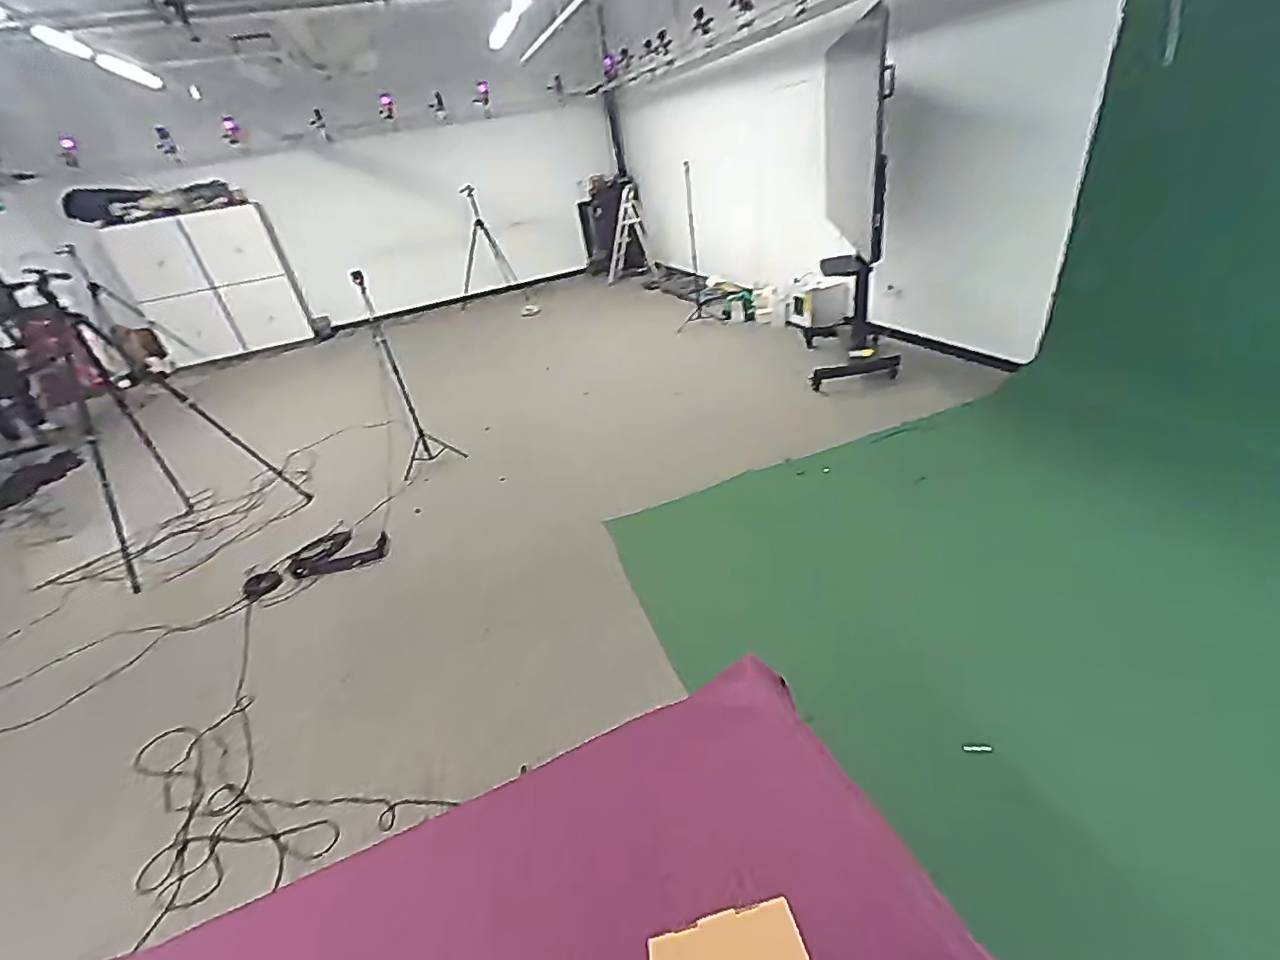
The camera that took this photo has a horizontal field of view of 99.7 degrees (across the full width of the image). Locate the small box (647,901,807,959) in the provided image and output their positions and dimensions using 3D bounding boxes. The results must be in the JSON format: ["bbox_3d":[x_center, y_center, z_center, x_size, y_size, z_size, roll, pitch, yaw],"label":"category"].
[{"bbox_3d":[0.111,0.592,0.552,0.168,0.176,0.179,-13,21,-3],"label":"small box"}]
